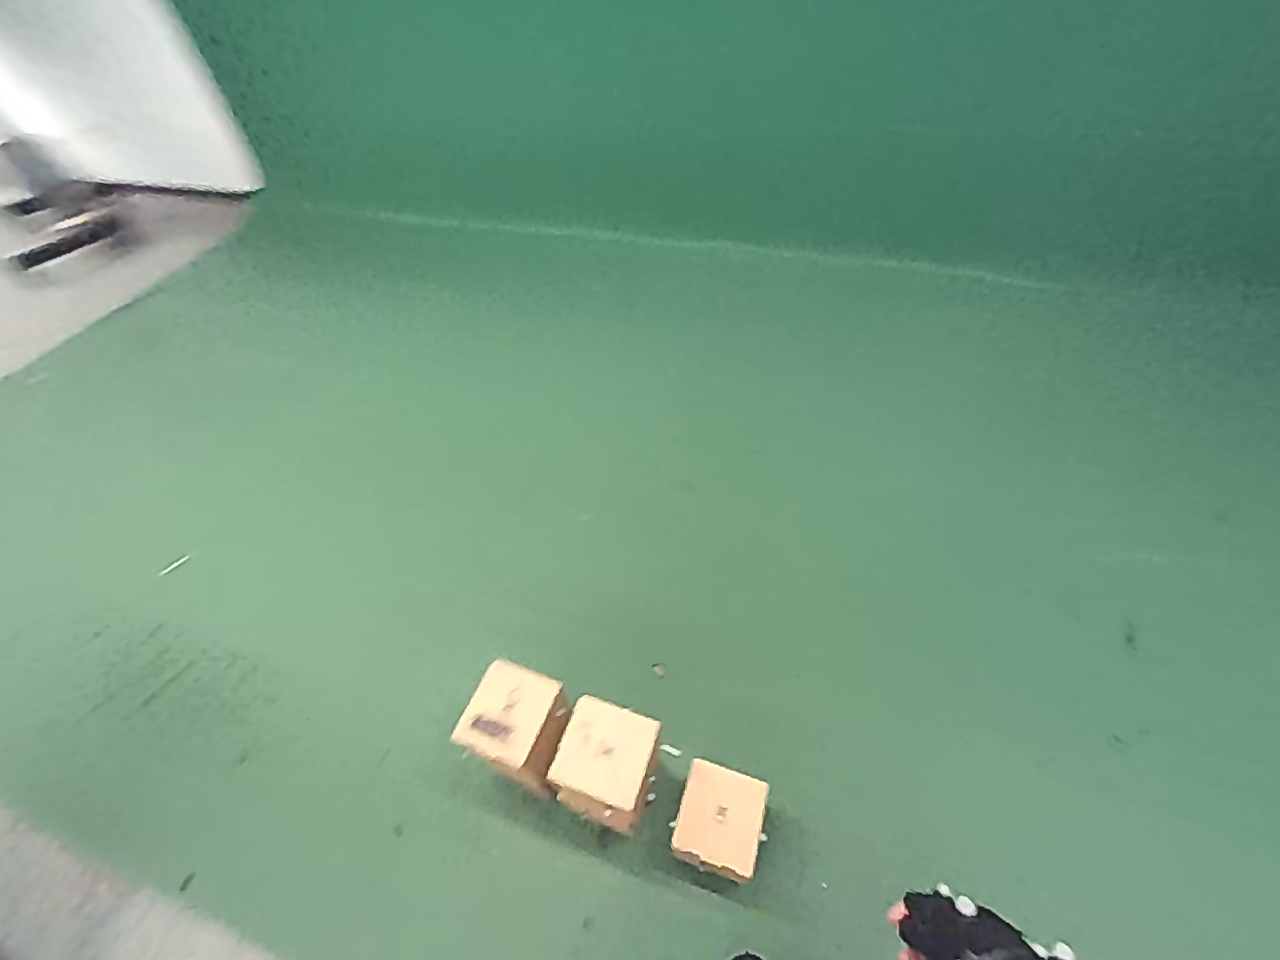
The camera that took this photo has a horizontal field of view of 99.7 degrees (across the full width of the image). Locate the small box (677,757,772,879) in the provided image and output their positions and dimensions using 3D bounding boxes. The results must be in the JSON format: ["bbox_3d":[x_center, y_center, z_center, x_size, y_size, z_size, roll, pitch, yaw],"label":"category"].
[{"bbox_3d":[0.182,0.745,1.190,0.168,0.176,0.179,13,54,15],"label":"small box"}]
